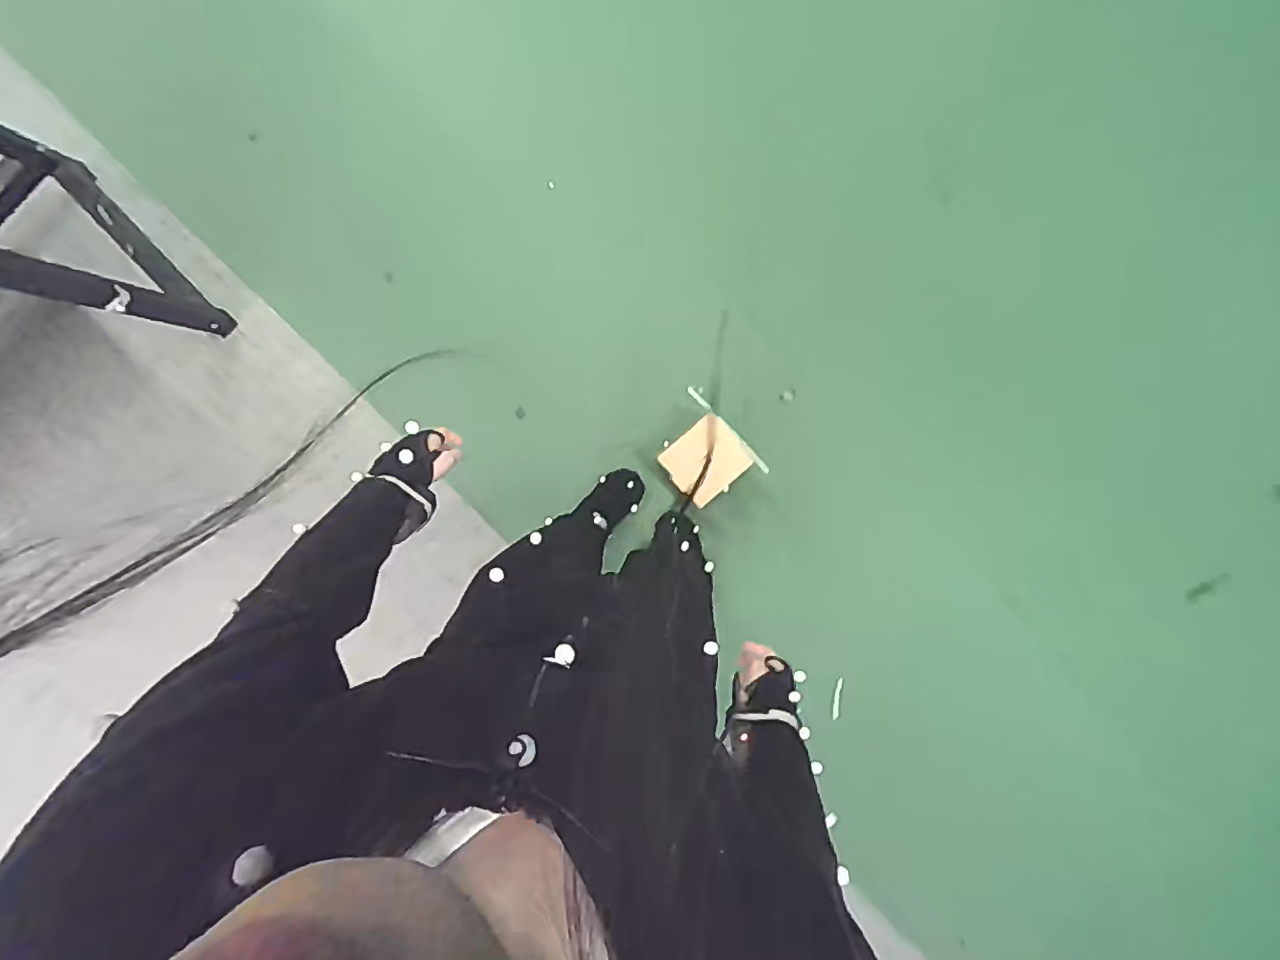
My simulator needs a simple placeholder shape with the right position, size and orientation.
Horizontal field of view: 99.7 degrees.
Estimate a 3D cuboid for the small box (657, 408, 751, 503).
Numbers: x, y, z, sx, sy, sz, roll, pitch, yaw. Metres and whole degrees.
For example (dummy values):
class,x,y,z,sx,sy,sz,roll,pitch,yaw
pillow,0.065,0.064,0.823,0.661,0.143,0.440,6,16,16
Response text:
class,x,y,z,sx,sy,sz,roll,pitch,yaw
small box,0.155,-0.069,1.394,0.179,0.176,0.168,-41,94,5
